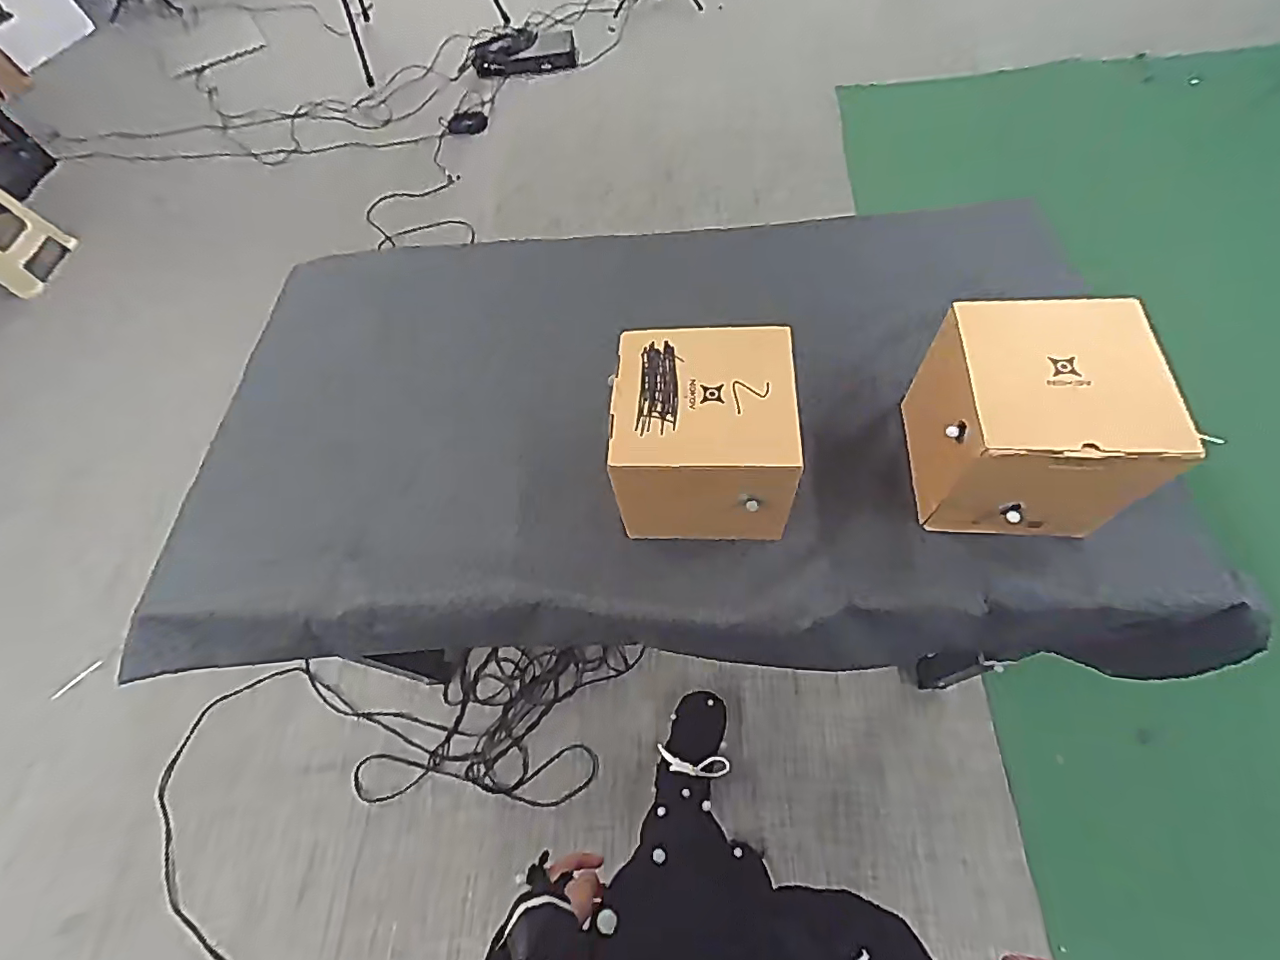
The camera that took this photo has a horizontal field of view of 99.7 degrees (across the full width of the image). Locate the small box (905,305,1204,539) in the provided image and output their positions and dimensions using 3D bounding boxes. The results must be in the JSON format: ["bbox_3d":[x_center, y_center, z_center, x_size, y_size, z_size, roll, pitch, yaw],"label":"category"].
[{"bbox_3d":[0.390,-0.055,0.554,0.168,0.176,0.179,1,62,8],"label":"small box"}]
